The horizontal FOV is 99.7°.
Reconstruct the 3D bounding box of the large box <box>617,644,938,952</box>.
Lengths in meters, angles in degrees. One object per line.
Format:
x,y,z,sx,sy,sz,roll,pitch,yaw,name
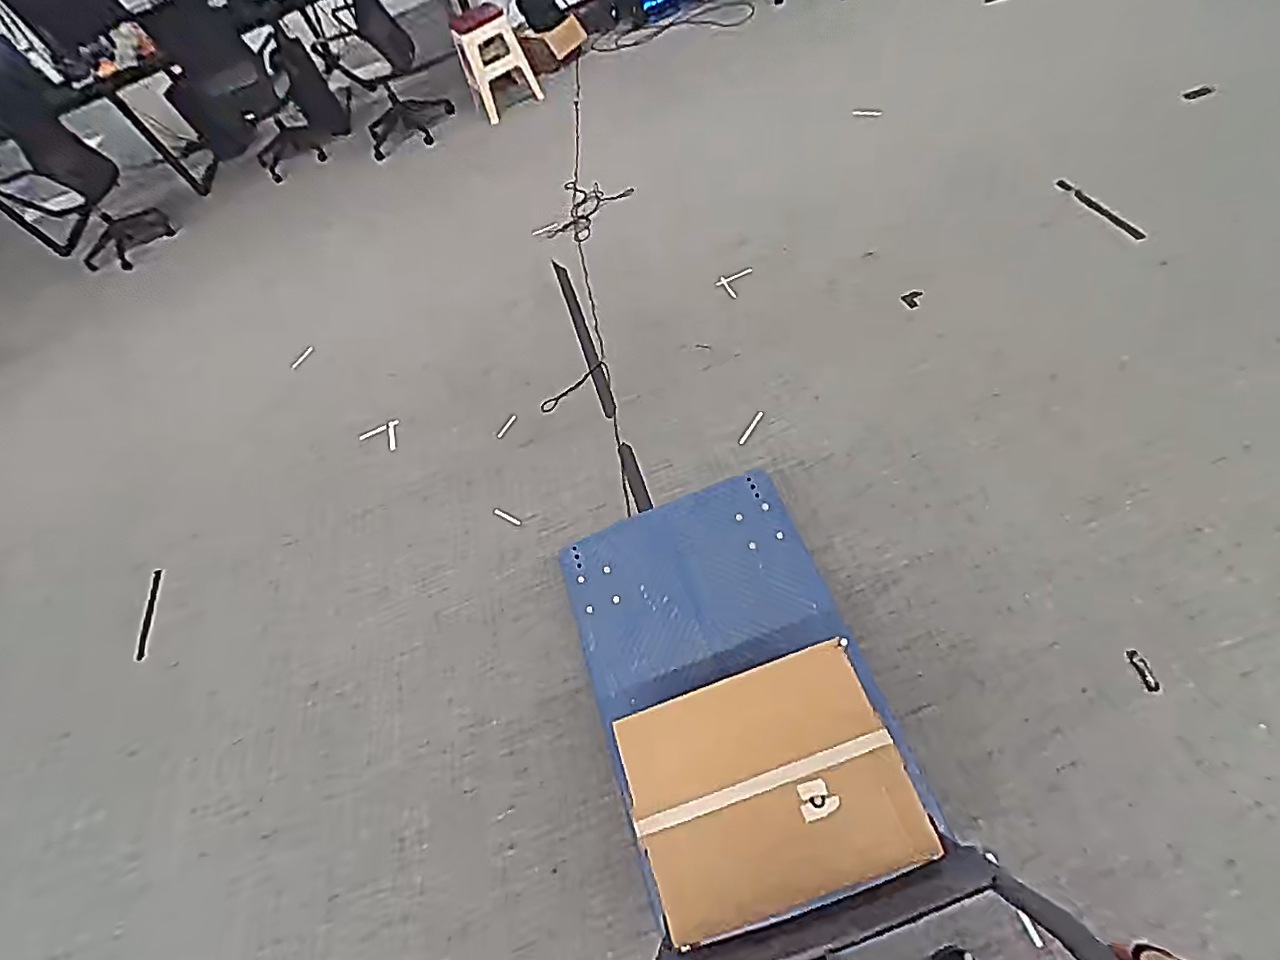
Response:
0.218,0.535,0.962,0.408,0.320,0.320,-21,63,1,large box
